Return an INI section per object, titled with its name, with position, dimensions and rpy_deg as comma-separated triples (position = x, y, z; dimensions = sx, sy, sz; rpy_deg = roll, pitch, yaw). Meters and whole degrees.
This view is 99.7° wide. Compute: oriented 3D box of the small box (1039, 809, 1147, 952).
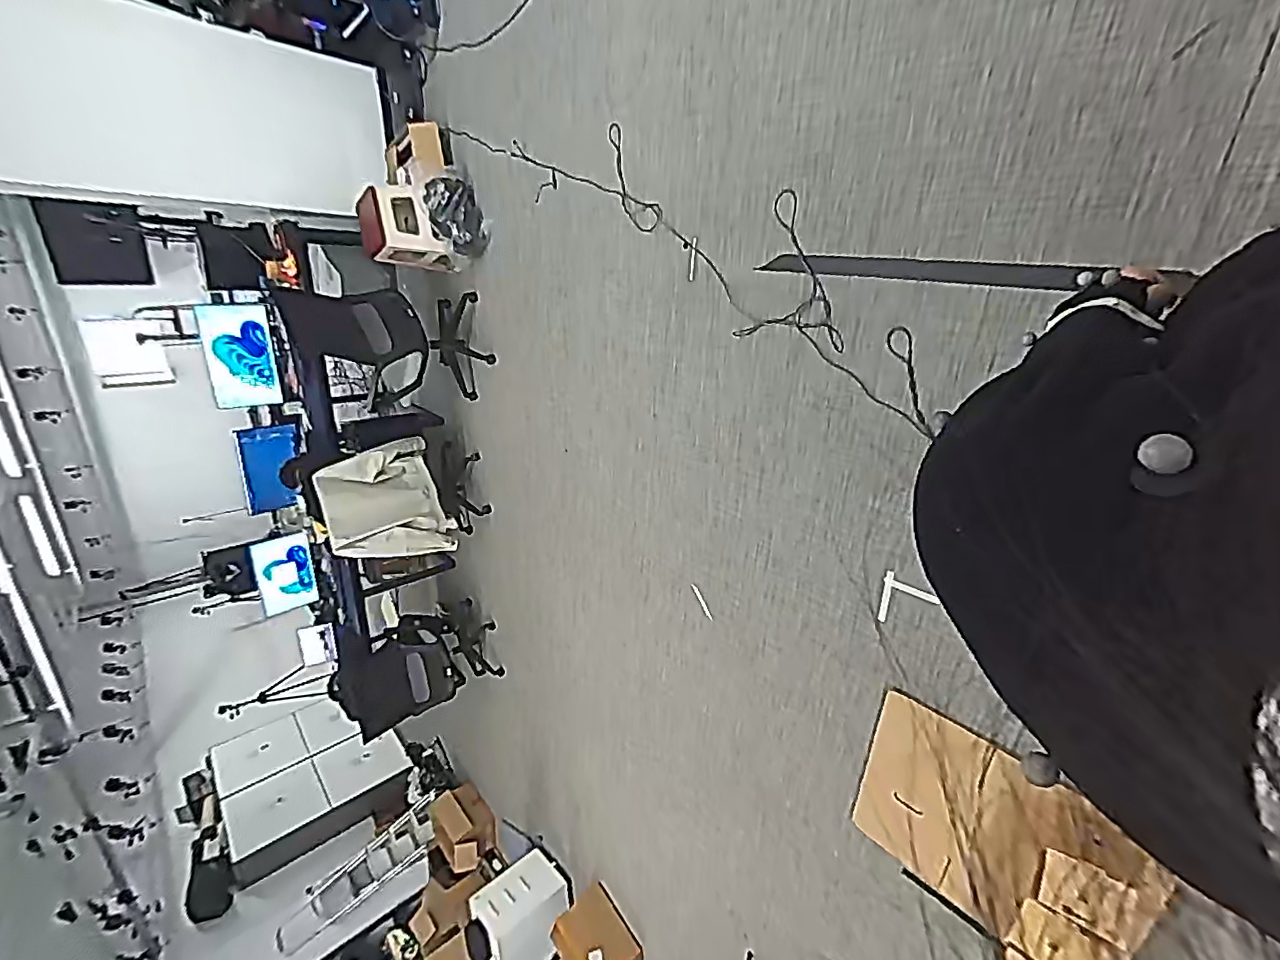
[small box]
position = 1.074, 0.933, 1.280
dimensions = 0.168, 0.176, 0.179
rpy_deg = 12, 111, 46
